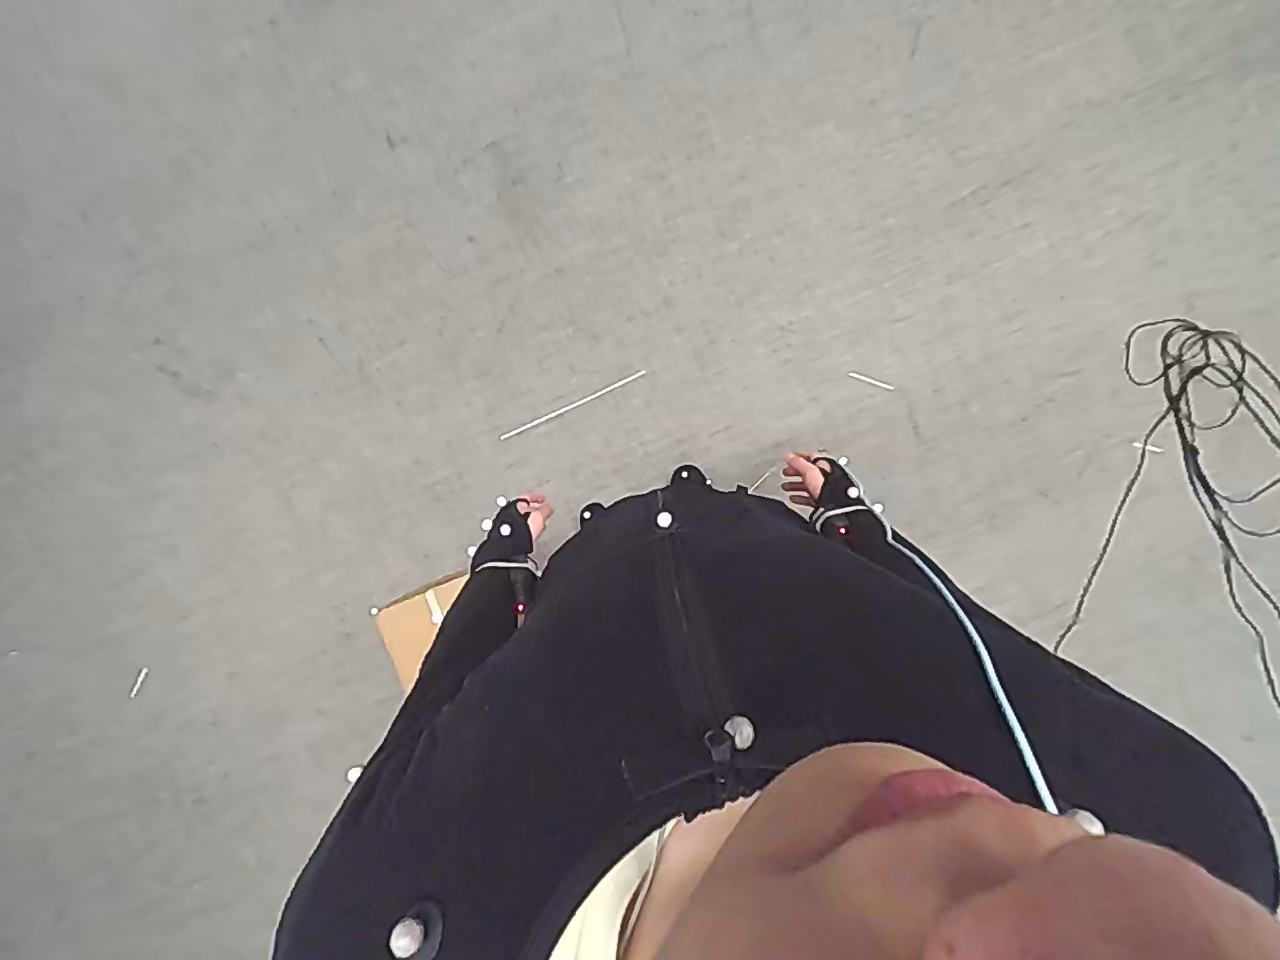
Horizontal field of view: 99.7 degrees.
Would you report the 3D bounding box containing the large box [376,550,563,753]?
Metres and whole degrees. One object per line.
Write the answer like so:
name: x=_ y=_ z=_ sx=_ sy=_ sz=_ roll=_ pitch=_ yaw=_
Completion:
large box: x=-0.449 y=0.453 z=1.512 sx=0.320 sy=0.320 sz=0.408 roll=-23 pitch=90 yaw=0
